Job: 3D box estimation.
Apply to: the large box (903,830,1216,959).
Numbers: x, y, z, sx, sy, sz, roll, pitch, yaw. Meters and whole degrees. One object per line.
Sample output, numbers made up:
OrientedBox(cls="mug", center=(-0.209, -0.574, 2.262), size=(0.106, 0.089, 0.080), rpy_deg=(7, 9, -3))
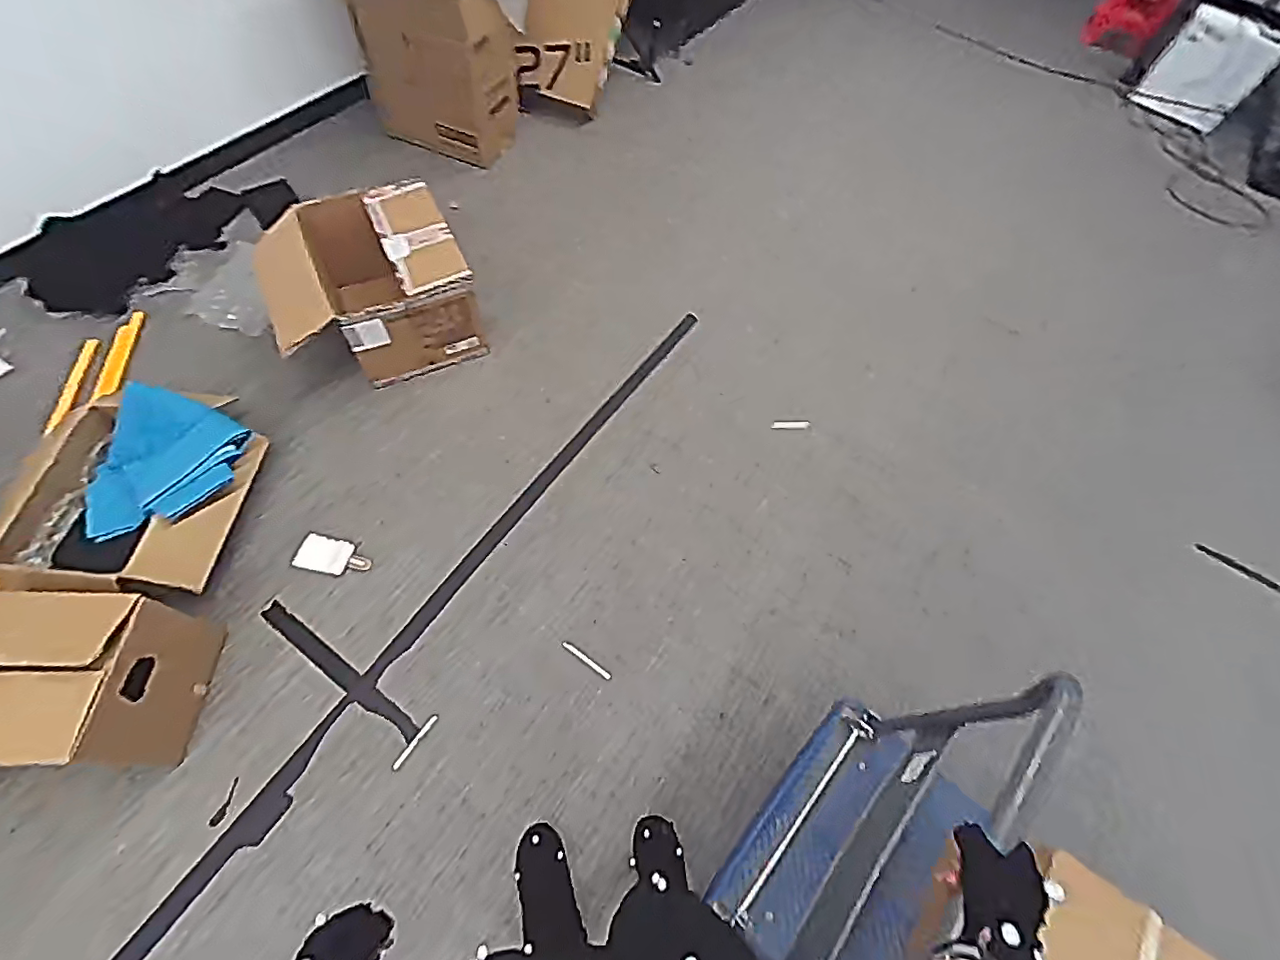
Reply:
OrientedBox(cls="large box", center=(0.673, 0.887, 0.900), size=(0.320, 0.320, 0.408), rpy_deg=(33, 64, 13))
